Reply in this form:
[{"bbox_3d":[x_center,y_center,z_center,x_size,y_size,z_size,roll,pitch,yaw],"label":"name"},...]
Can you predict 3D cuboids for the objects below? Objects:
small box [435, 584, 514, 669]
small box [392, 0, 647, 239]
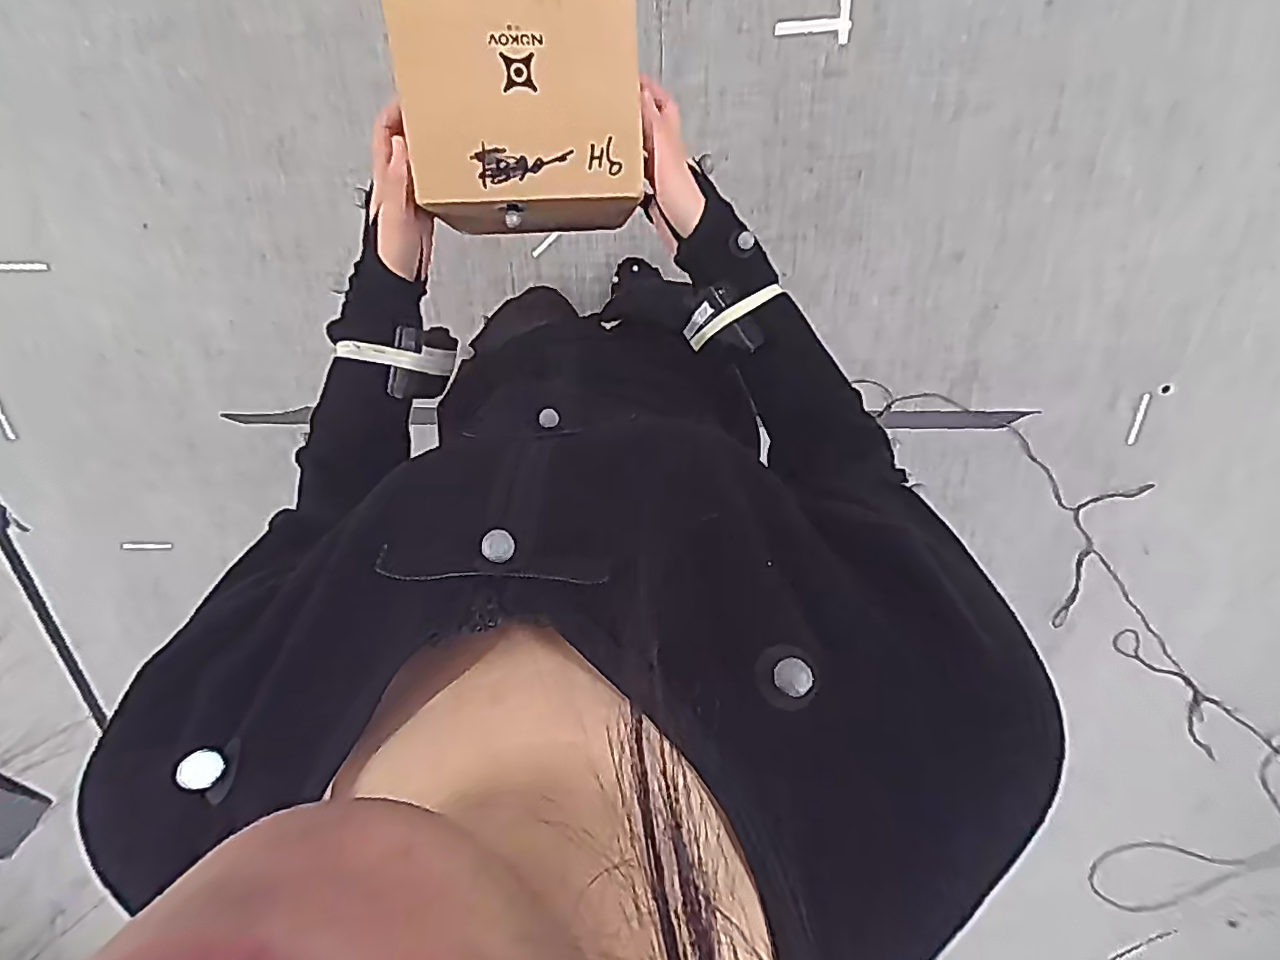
[{"bbox_3d":[-0.501,0.441,1.652,0.179,0.176,0.168,15,111,-6],"label":"small box"},{"bbox_3d":[-0.090,-0.305,0.441,0.168,0.176,0.179,-5,107,-7],"label":"small box"}]
